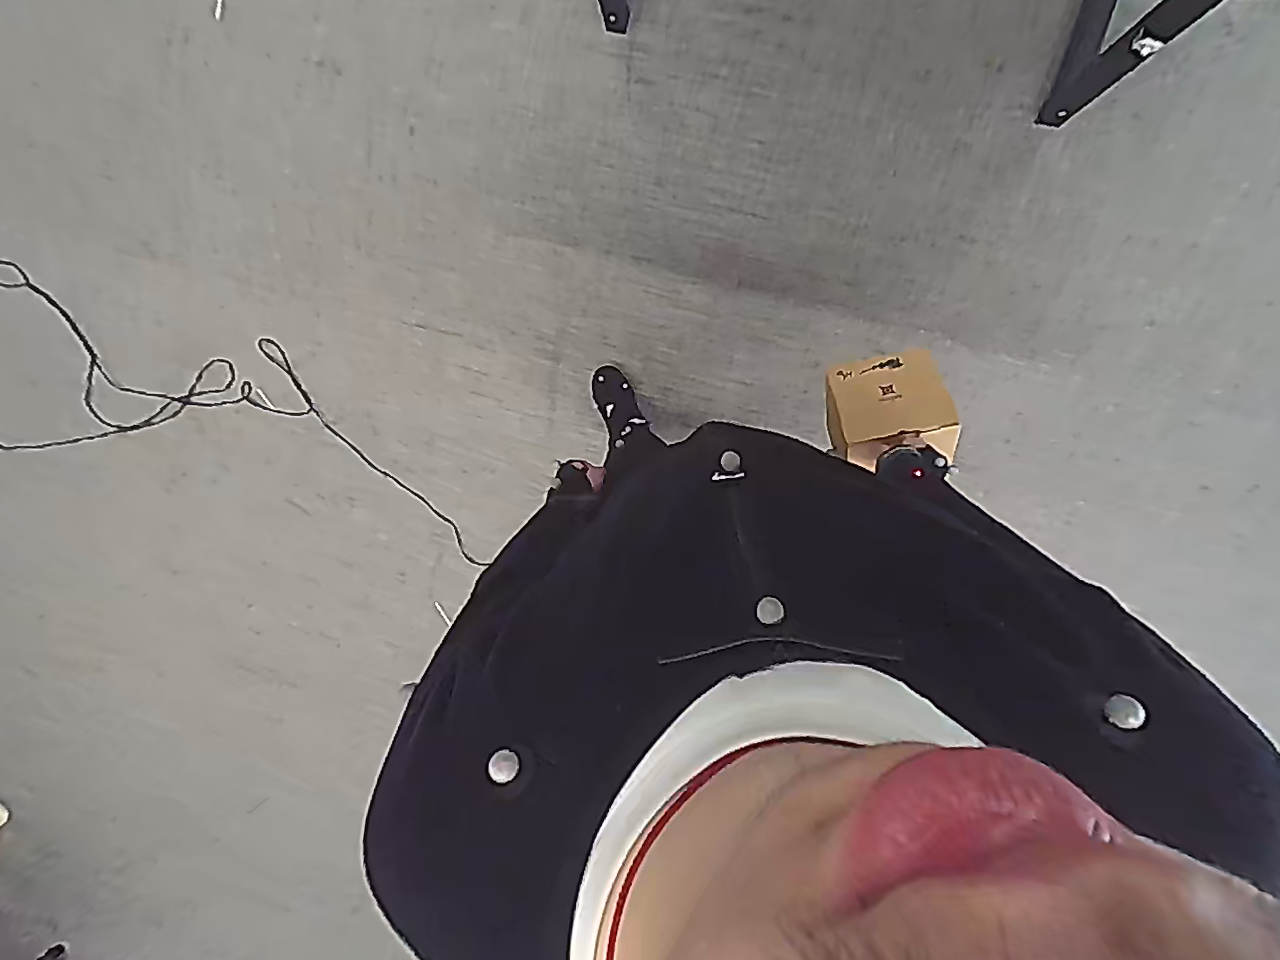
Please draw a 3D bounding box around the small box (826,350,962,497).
[{"bbox_3d":[0.430,-0.086,0.934,0.168,0.179,0.176,-13,141,14],"label":"small box"}]
